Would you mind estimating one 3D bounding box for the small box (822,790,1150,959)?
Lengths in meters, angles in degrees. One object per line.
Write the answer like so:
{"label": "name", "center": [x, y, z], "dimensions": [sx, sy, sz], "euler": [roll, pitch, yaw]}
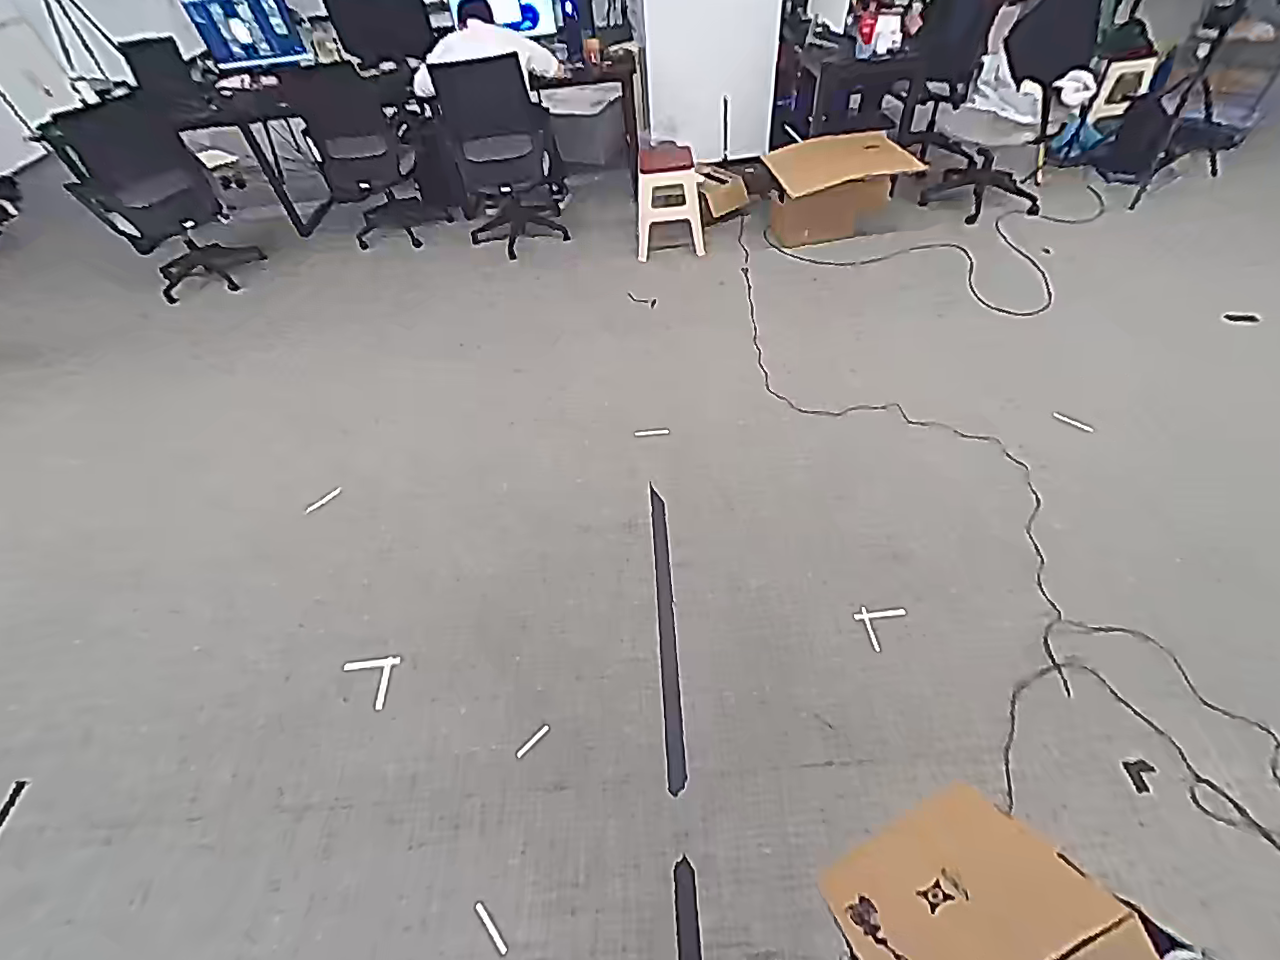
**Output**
{"label": "small box", "center": [0.291, 0.412, 0.445], "dimensions": [0.179, 0.168, 0.176], "euler": [-28, 90, -5]}
